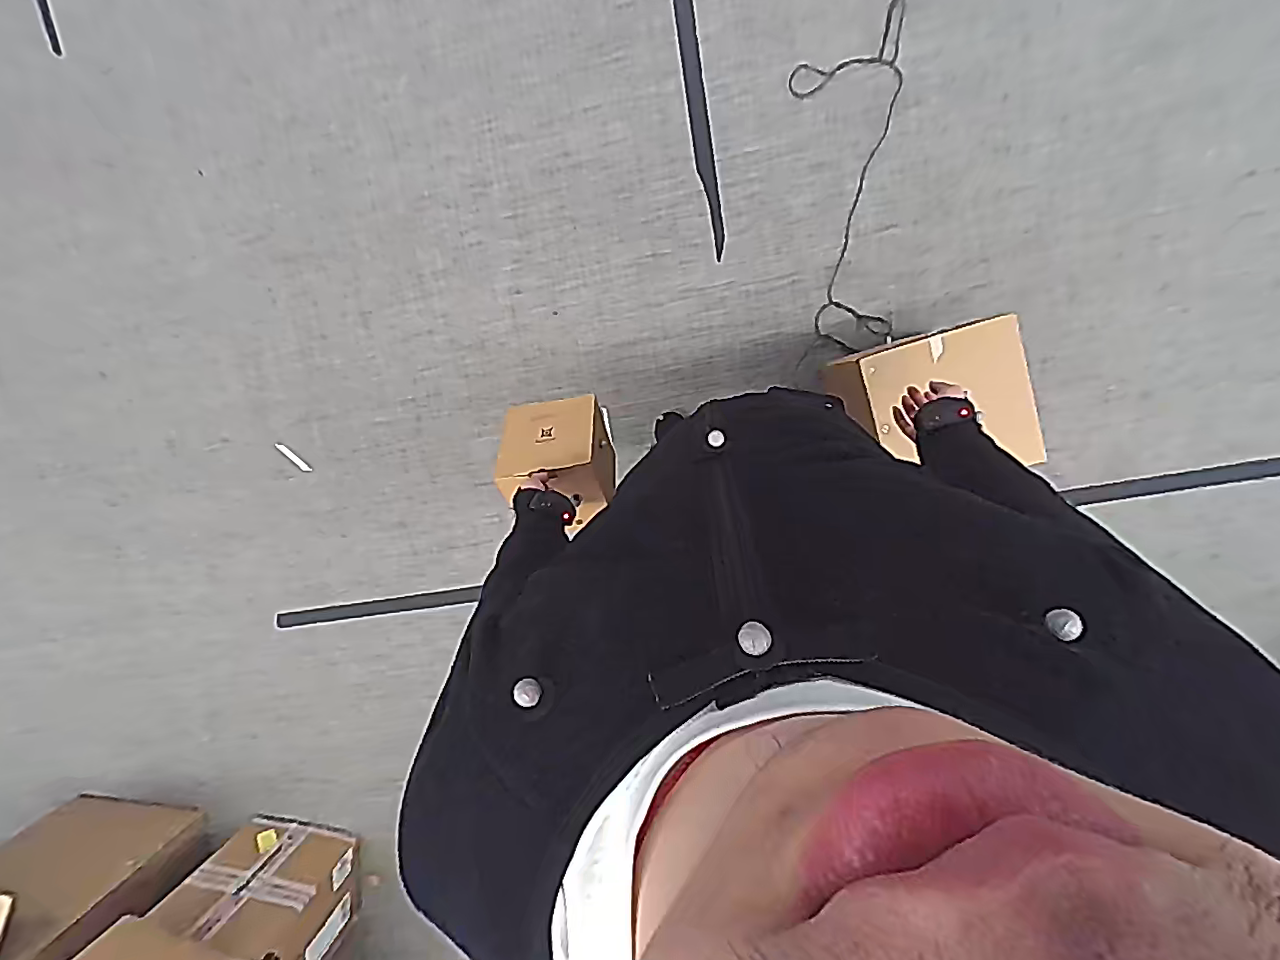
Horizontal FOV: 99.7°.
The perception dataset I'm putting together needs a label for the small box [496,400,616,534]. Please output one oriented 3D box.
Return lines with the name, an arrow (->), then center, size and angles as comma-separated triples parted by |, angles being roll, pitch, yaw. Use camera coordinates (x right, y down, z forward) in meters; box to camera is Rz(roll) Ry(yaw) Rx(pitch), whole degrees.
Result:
small box -> -0.142, -0.016, 0.982 | 0.168, 0.179, 0.176 | -8, 136, 7
